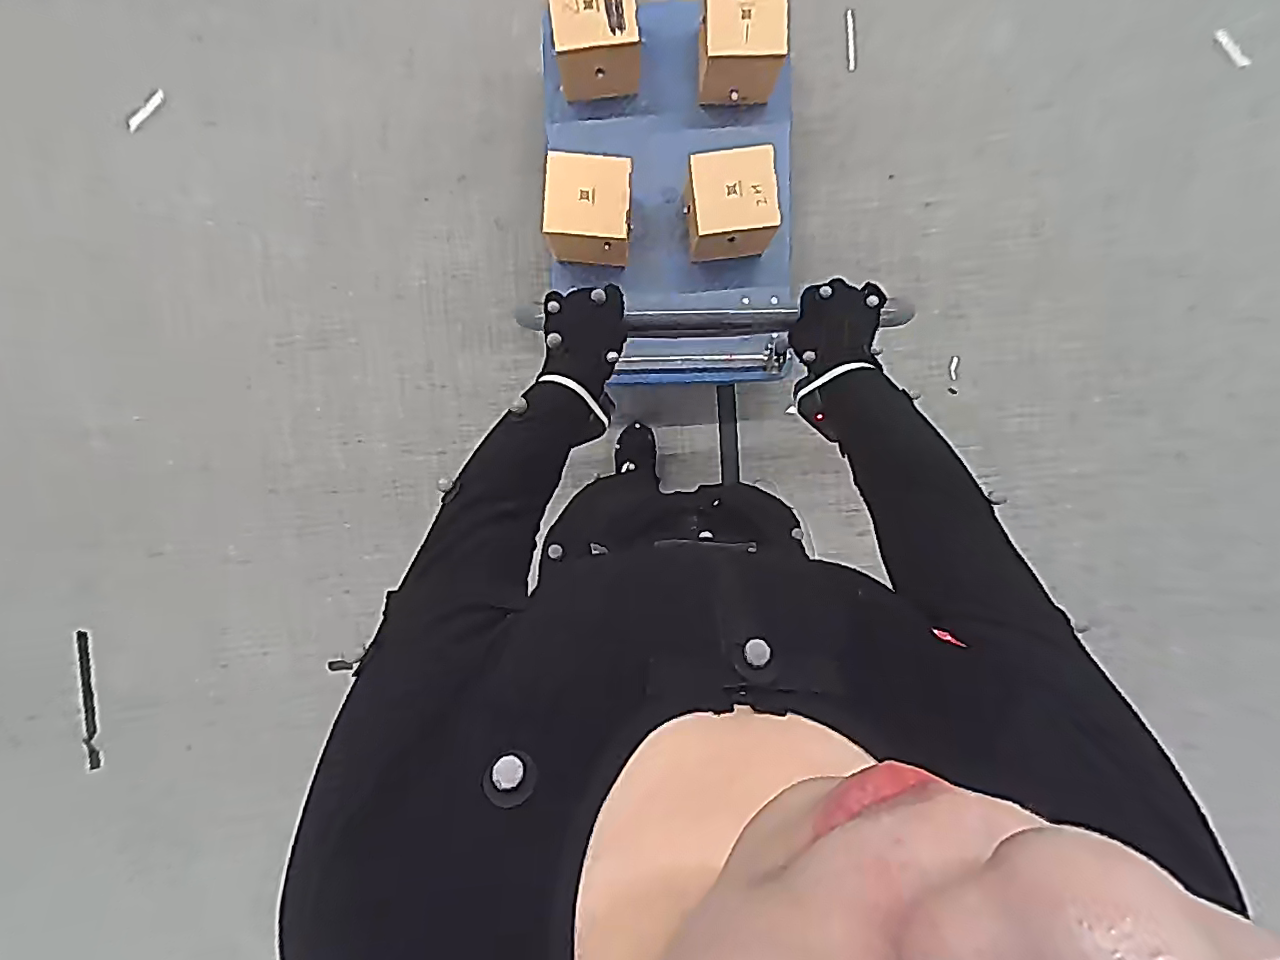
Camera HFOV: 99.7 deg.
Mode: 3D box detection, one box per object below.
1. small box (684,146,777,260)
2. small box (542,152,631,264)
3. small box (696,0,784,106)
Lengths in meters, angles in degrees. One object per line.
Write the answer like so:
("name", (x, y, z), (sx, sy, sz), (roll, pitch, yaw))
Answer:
("small box", (0.193, -0.606, 1.203), (0.179, 0.176, 0.168), (-7, 94, 0))
("small box", (-0.114, -0.594, 1.202), (0.179, 0.176, 0.168), (4, 93, -2))
("small box", (0.212, -0.961, 1.182), (0.168, 0.176, 0.179), (-1, 95, 0))
